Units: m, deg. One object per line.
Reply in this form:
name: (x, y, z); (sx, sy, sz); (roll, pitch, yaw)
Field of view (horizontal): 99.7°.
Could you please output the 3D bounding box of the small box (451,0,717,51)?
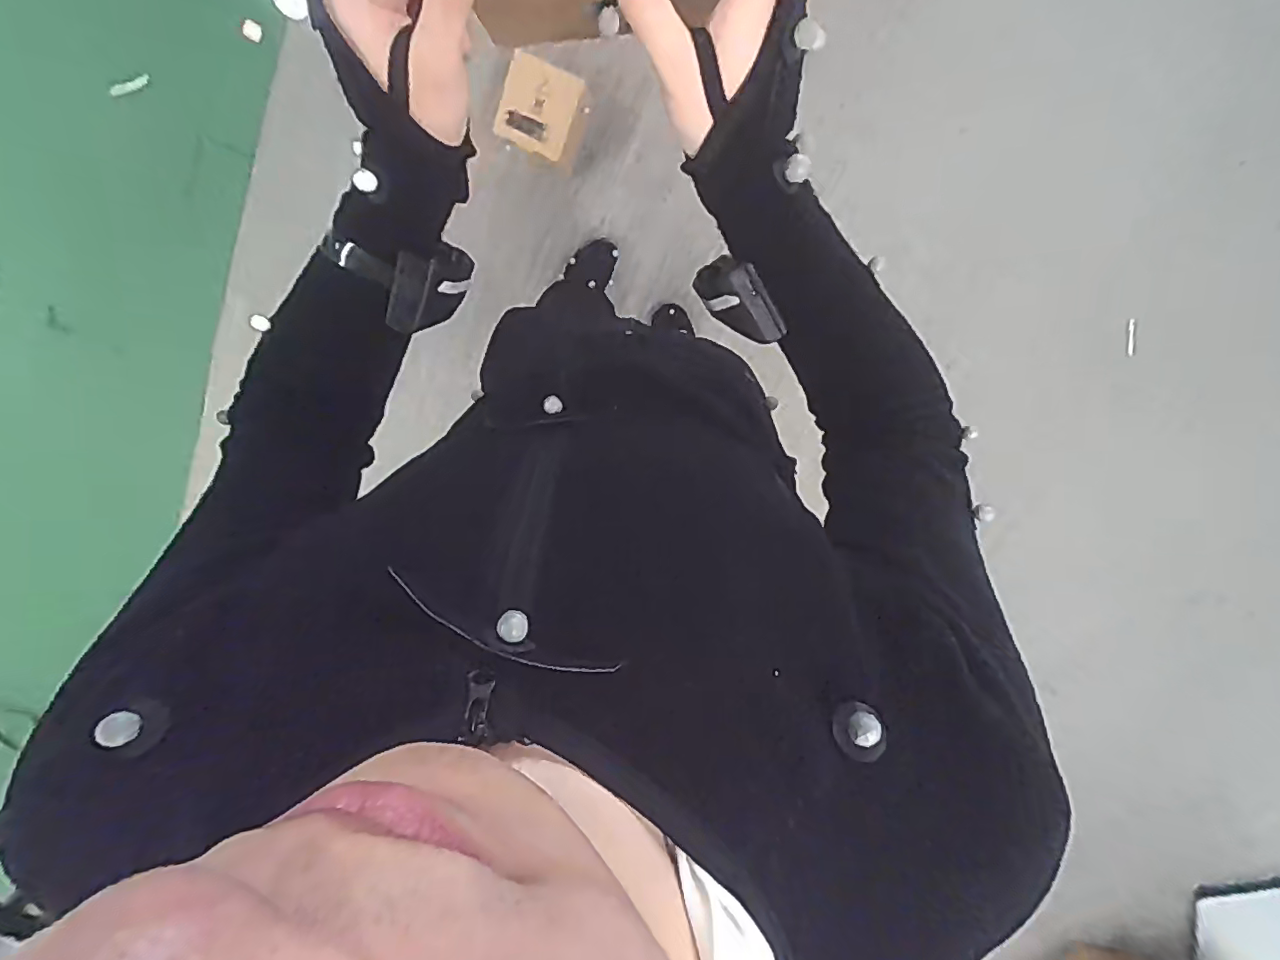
small box: (-0.033, -0.369, 0.303); (0.168, 0.176, 0.179); (-8, 118, 0)
